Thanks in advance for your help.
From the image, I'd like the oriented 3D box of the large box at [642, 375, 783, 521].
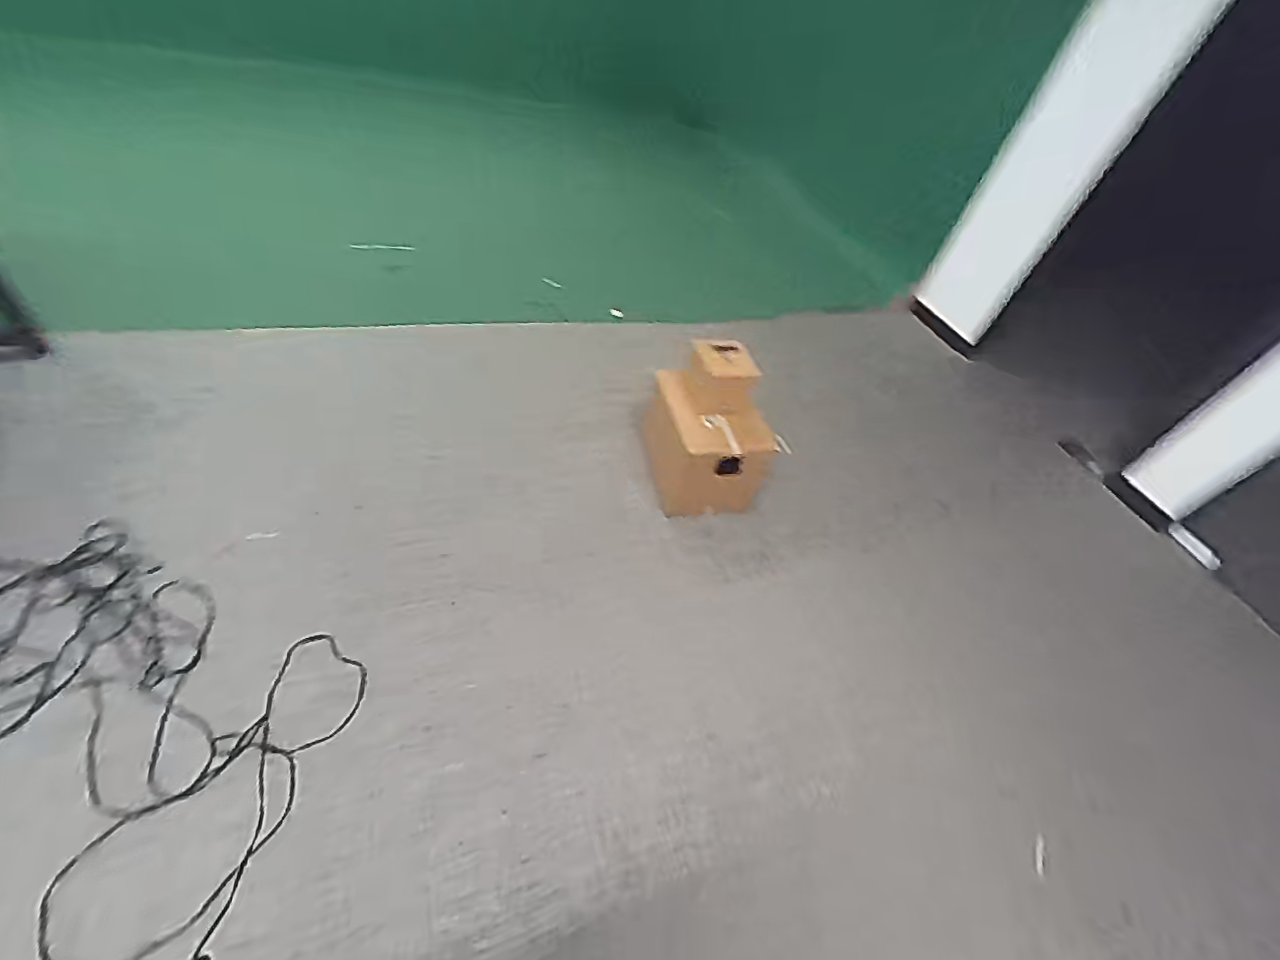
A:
[{"bbox_3d":[0.223,-0.113,1.860,0.320,0.320,0.408,-4,51,-16],"label":"large box"}]
